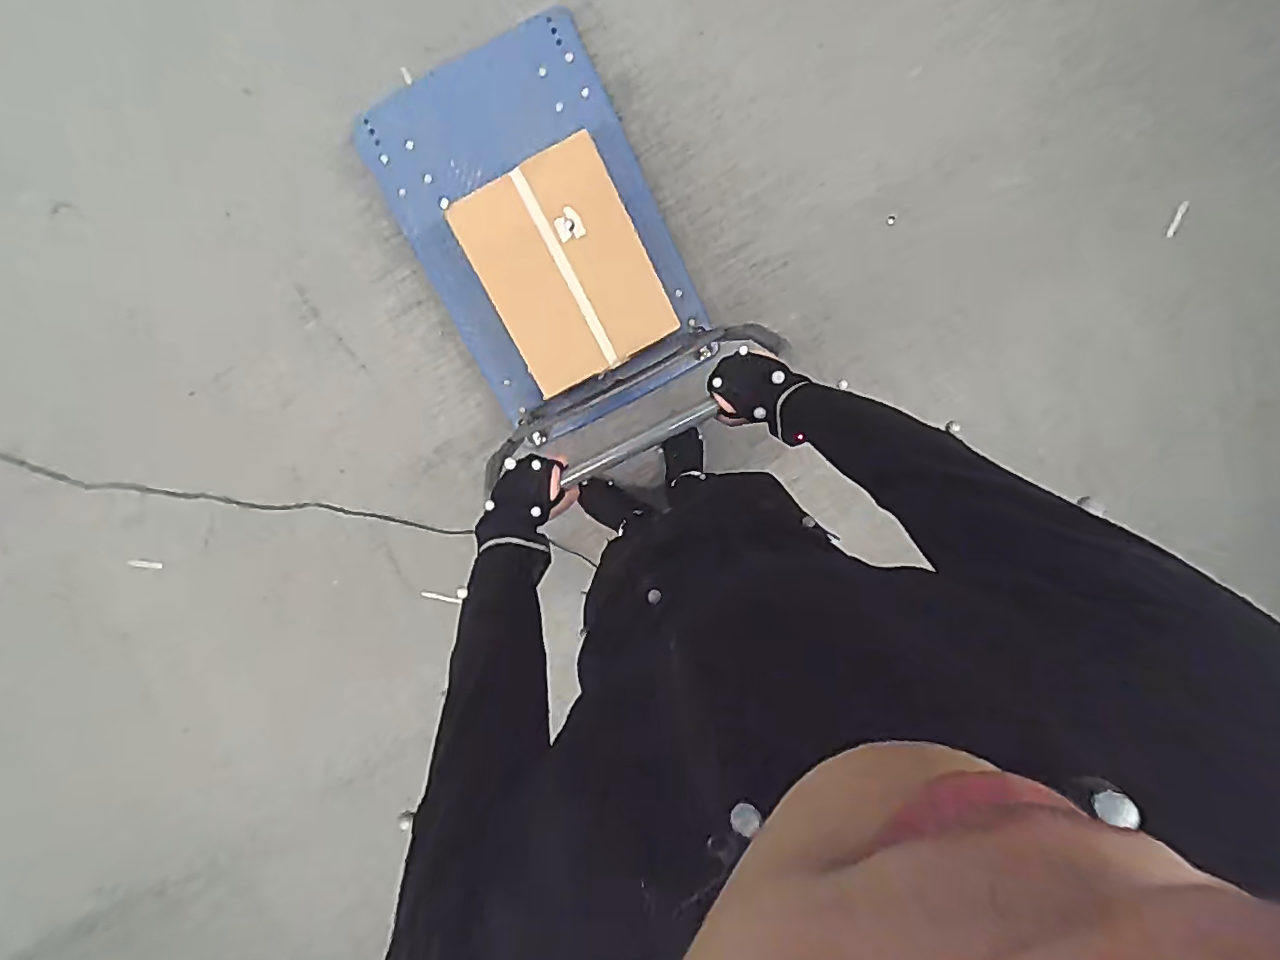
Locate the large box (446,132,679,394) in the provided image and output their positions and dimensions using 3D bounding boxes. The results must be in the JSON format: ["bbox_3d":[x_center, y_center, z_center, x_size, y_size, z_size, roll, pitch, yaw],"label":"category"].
[{"bbox_3d":[-0.148,-0.440,1.199,0.320,0.320,0.408,-27,100,2],"label":"large box"}]
